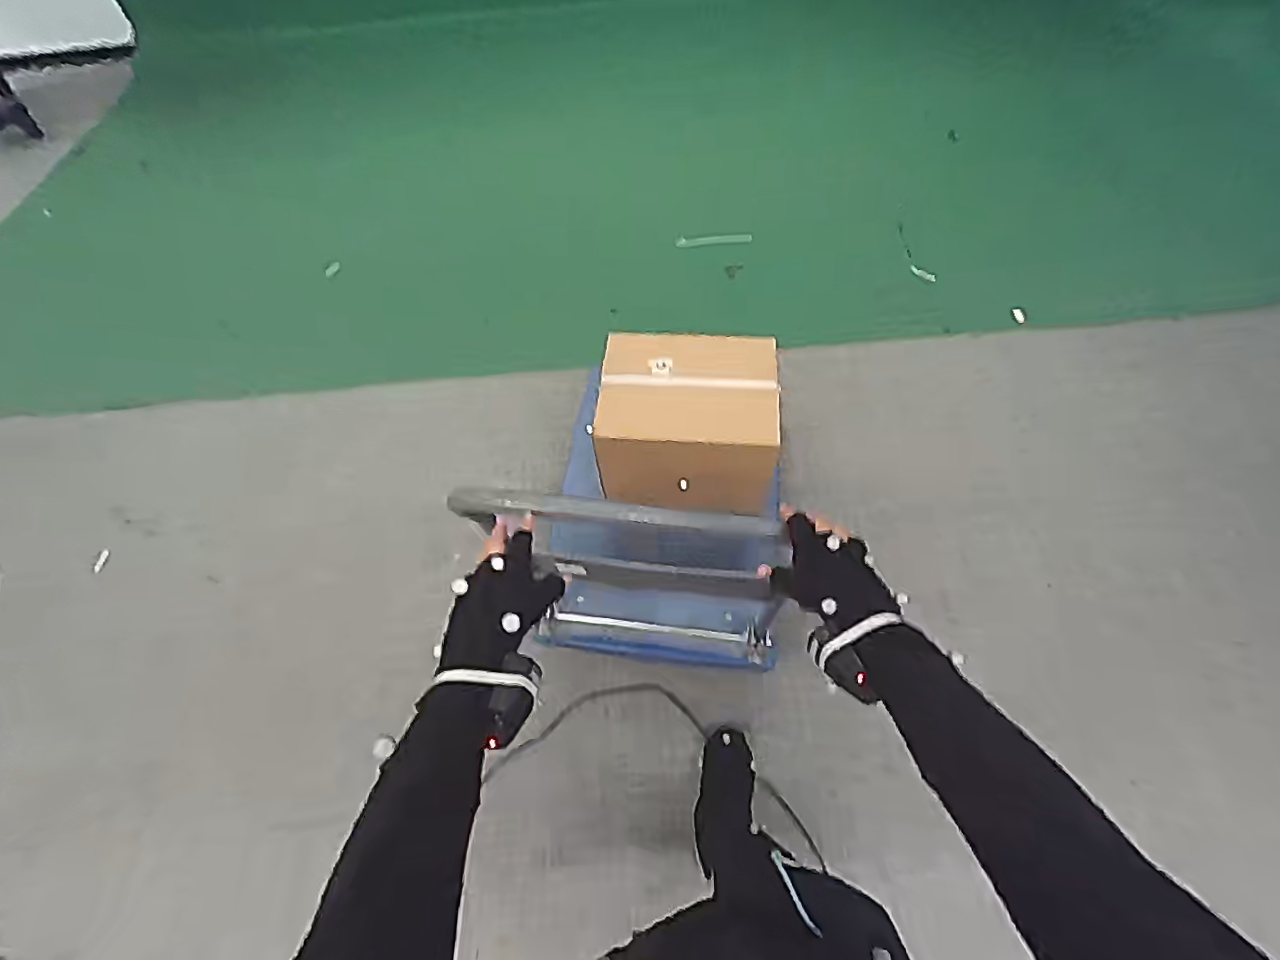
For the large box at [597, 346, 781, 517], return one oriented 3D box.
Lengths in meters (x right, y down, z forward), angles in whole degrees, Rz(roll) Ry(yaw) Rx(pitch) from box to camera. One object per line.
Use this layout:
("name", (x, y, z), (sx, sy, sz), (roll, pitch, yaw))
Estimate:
("large box", (0.127, -0.117, 1.368), (0.408, 0.320, 0.320), (3, 57, 6))
